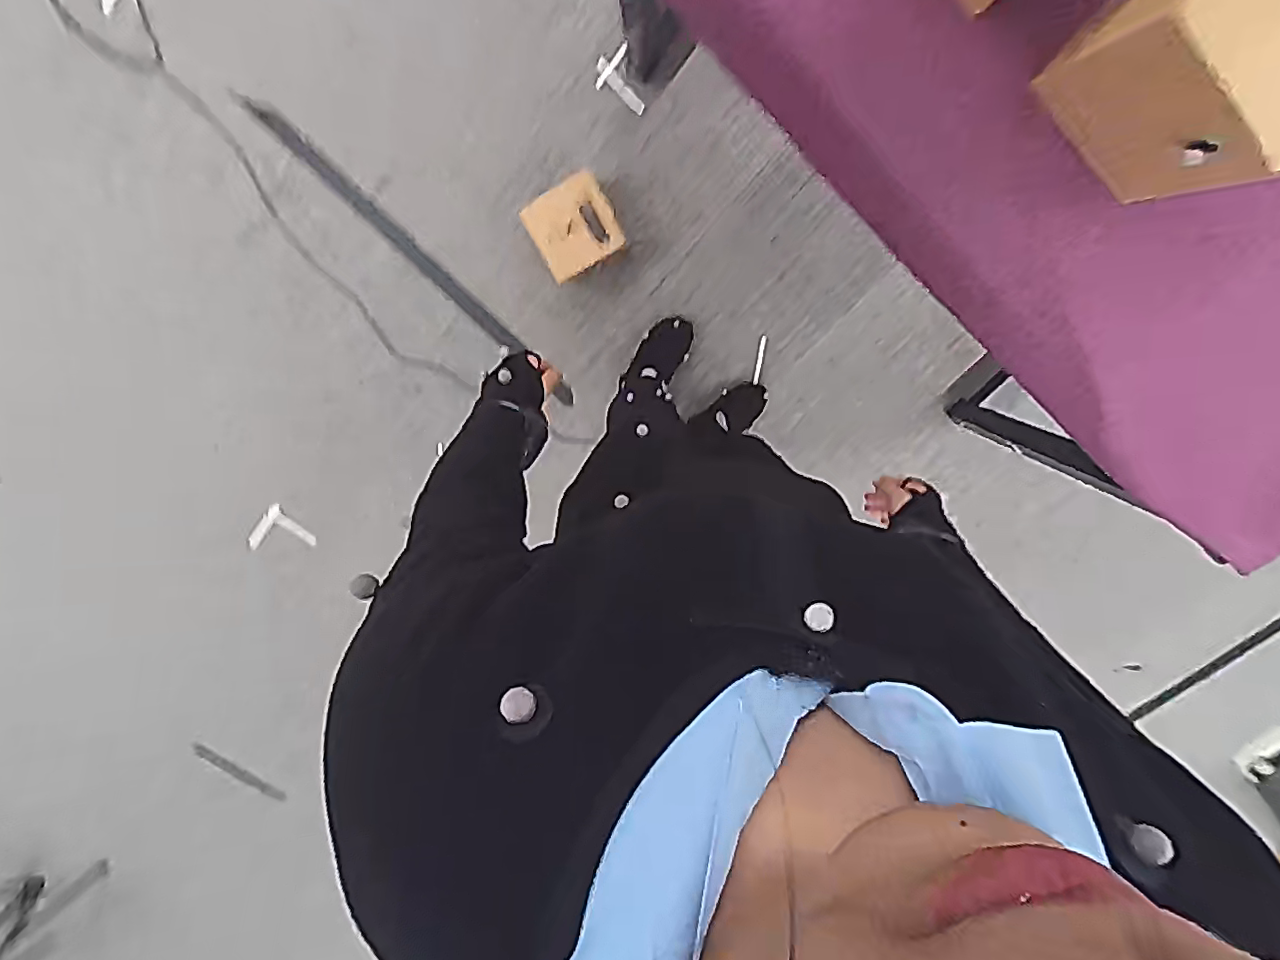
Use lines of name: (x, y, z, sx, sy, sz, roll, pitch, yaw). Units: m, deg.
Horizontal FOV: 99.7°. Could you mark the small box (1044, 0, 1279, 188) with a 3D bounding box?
small box: (0.534, -0.396, 0.491, 0.179, 0.176, 0.168, 40, 105, -12)
